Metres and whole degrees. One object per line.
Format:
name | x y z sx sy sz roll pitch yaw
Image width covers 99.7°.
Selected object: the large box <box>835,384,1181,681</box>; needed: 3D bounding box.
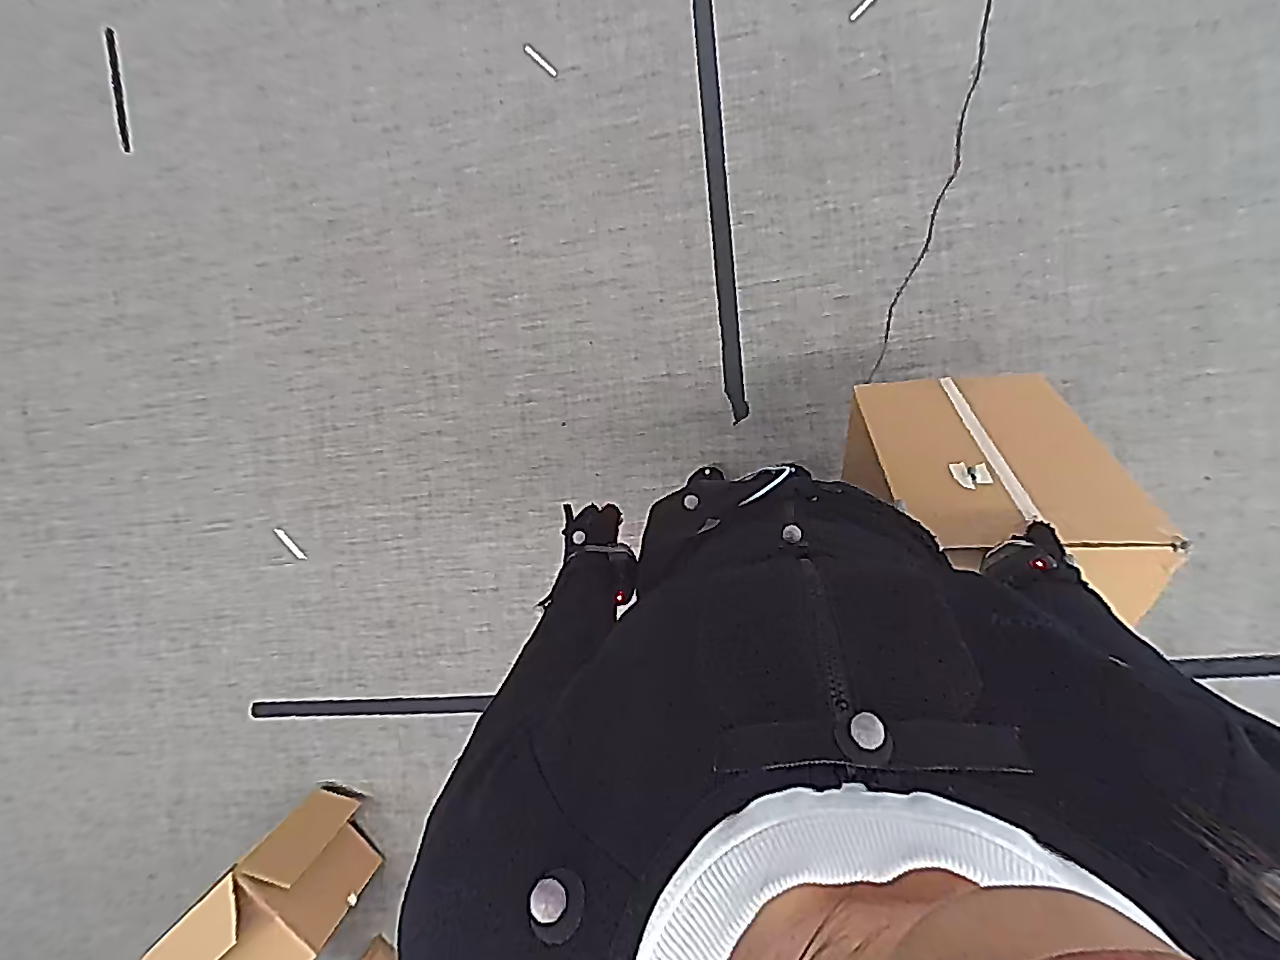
large box | 0.540 0.078 0.918 0.320 0.408 0.320 -3 131 9
